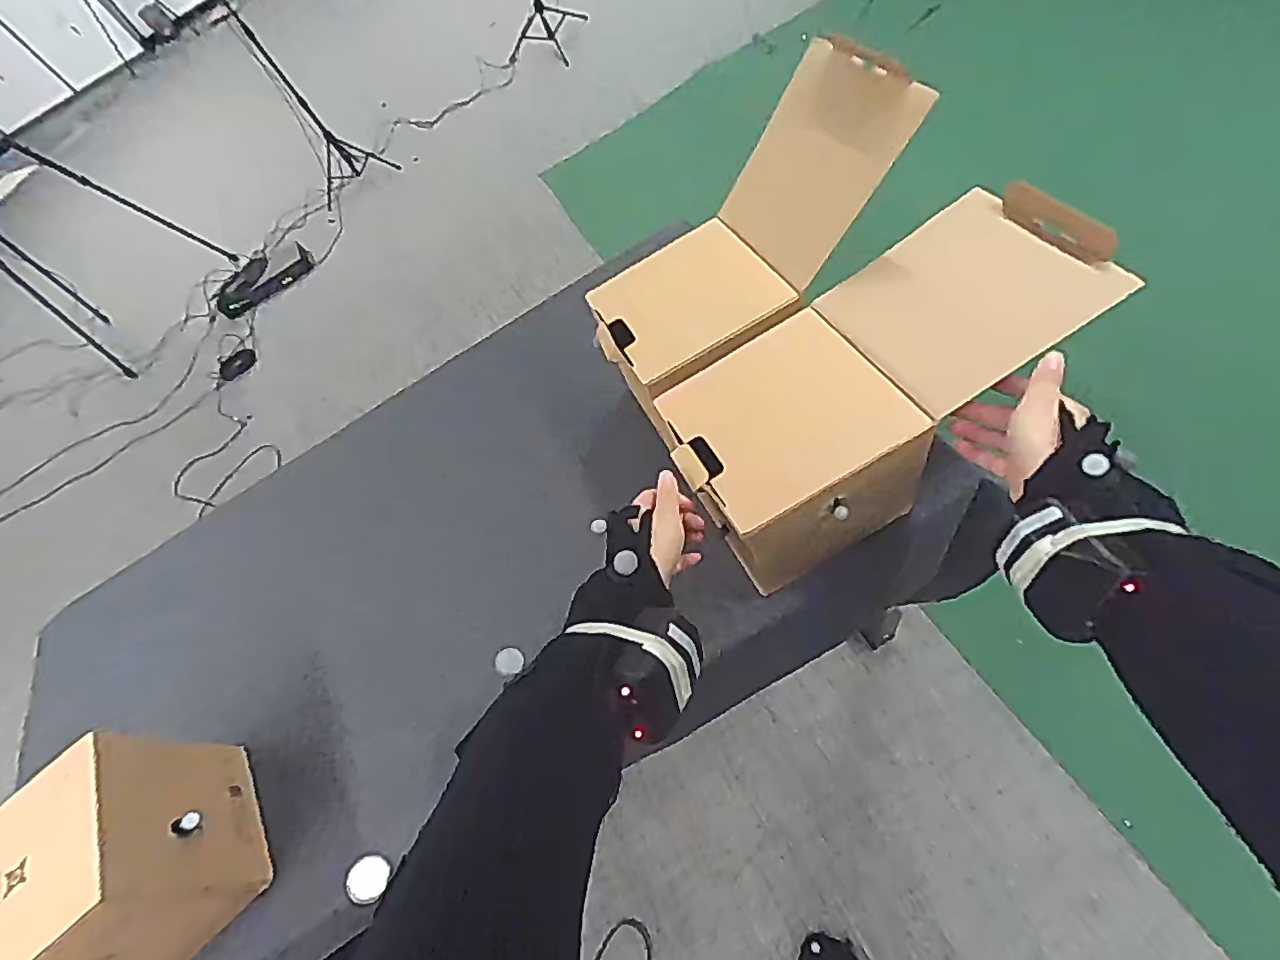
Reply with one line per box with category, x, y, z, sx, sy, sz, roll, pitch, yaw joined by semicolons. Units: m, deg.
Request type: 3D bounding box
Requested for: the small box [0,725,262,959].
small box;-0.511;0.373;0.529;0.179;0.176;0.168;-42;56;-7
